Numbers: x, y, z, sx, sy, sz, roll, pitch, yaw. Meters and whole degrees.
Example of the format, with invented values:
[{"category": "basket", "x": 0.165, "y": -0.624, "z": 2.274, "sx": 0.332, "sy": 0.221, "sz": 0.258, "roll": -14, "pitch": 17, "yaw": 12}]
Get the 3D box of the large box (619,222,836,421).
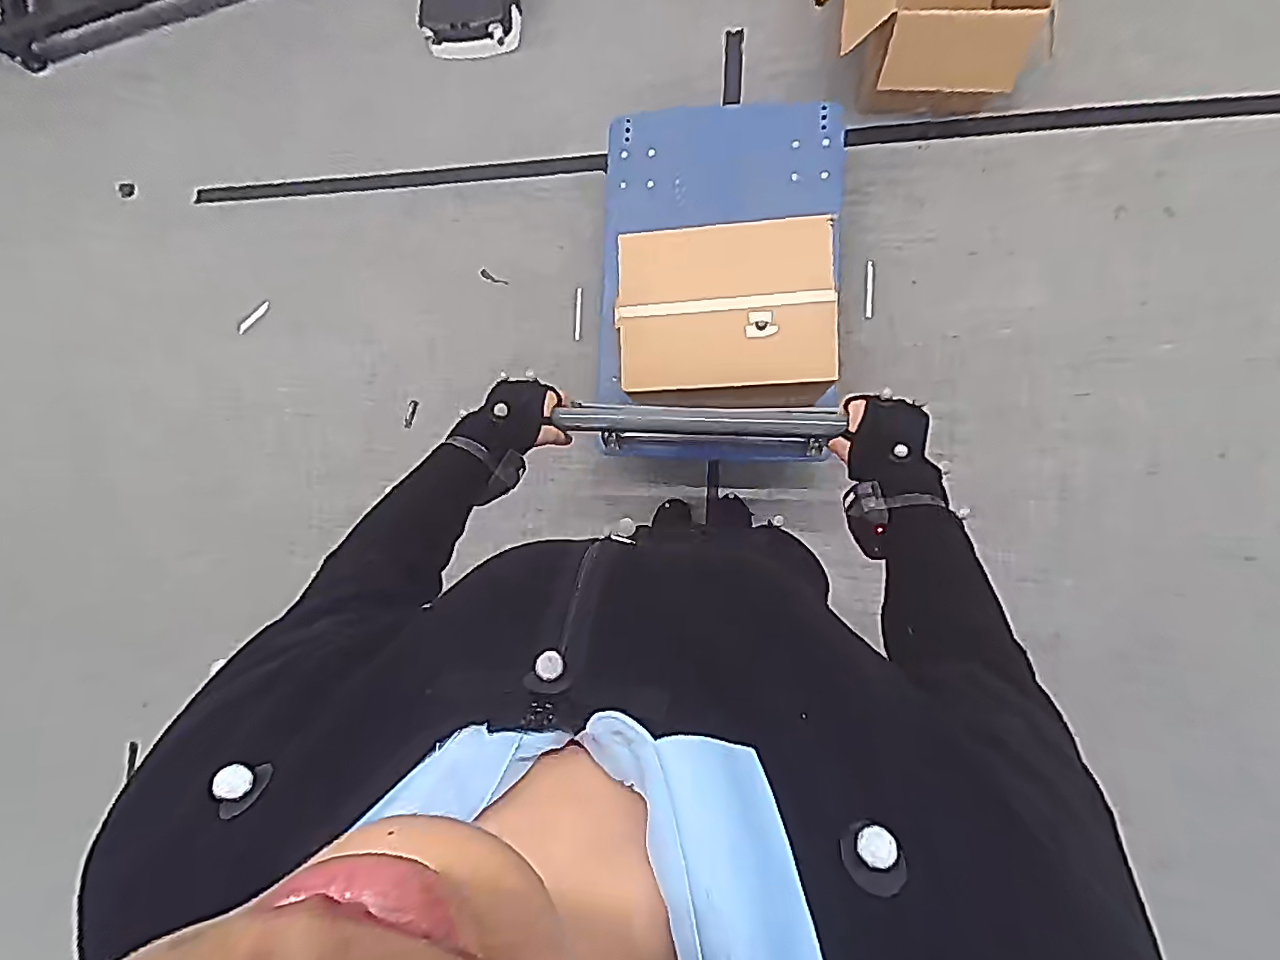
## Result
[{"category": "large box", "x": 0.179, "y": -0.316, "z": 1.179, "sx": 0.408, "sy": 0.320, "sz": 0.320, "roll": -2, "pitch": 88, "yaw": 7}]
